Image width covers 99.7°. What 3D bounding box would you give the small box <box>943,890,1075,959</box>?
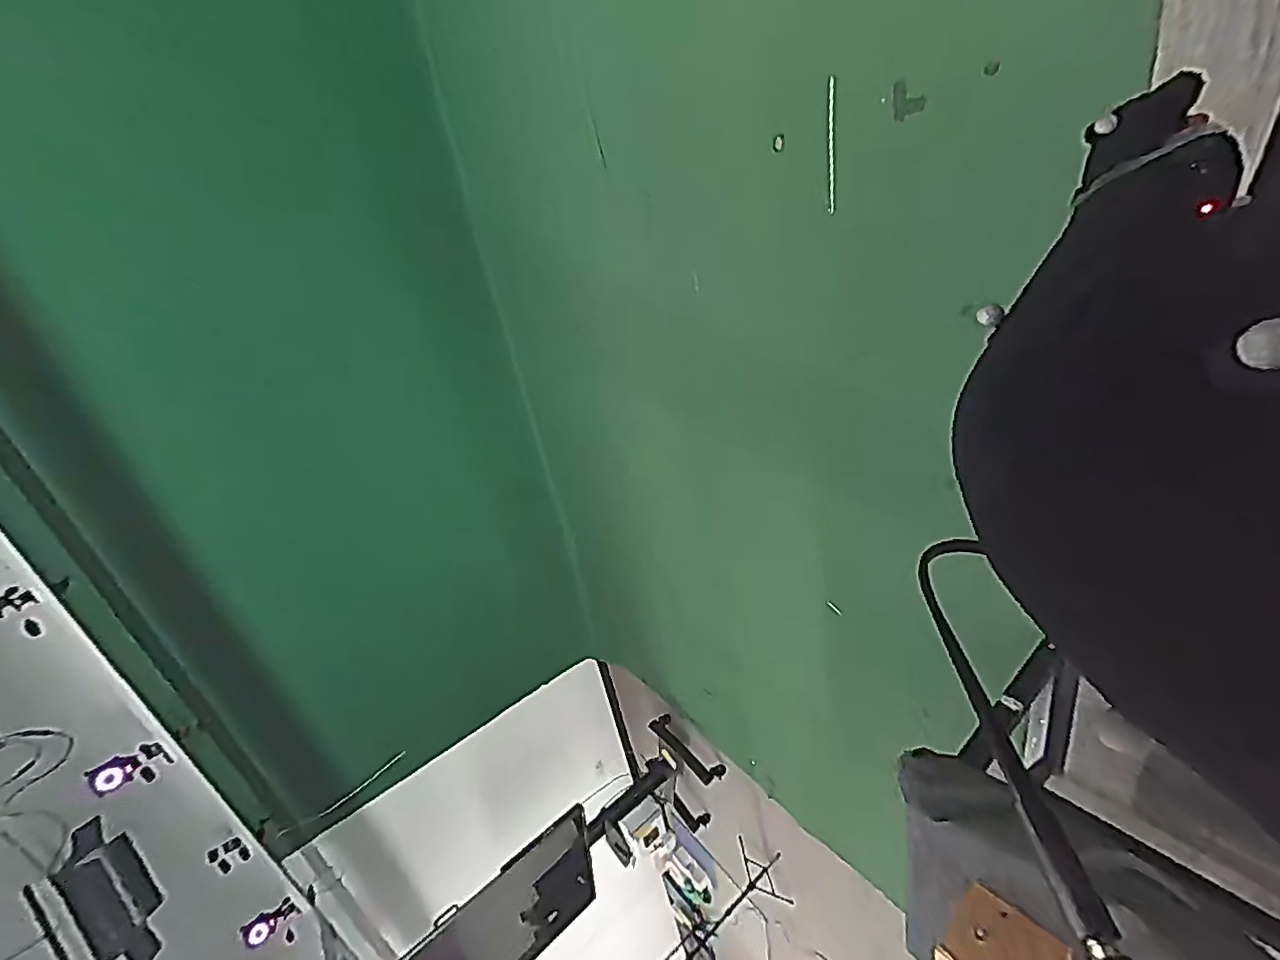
[{"bbox_3d":[0.700,0.941,1.024,0.168,0.176,0.179,19,131,53],"label":"small box"}]
